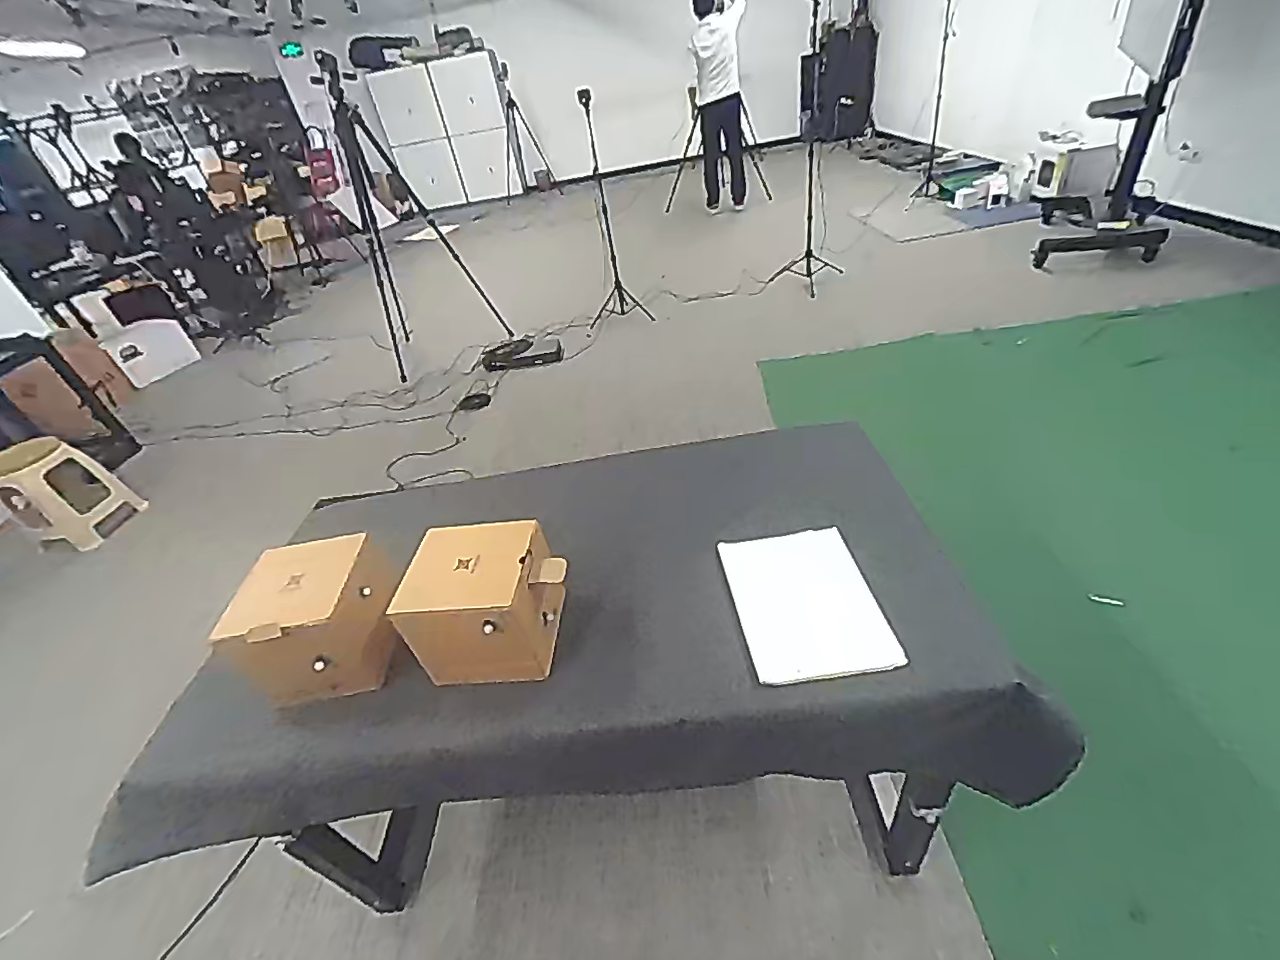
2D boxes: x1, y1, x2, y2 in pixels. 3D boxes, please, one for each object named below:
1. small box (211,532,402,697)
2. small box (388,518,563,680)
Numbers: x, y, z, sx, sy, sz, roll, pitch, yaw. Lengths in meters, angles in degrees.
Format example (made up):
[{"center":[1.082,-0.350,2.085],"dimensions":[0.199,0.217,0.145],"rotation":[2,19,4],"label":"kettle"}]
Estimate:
[{"center":[-0.484,0.209,0.825],"dimensions":[0.168,0.176,0.179],"rotation":[-10,36,0],"label":"small box"},{"center":[-0.228,0.178,0.799],"dimensions":[0.179,0.176,0.168],"rotation":[-5,37,7],"label":"small box"}]
